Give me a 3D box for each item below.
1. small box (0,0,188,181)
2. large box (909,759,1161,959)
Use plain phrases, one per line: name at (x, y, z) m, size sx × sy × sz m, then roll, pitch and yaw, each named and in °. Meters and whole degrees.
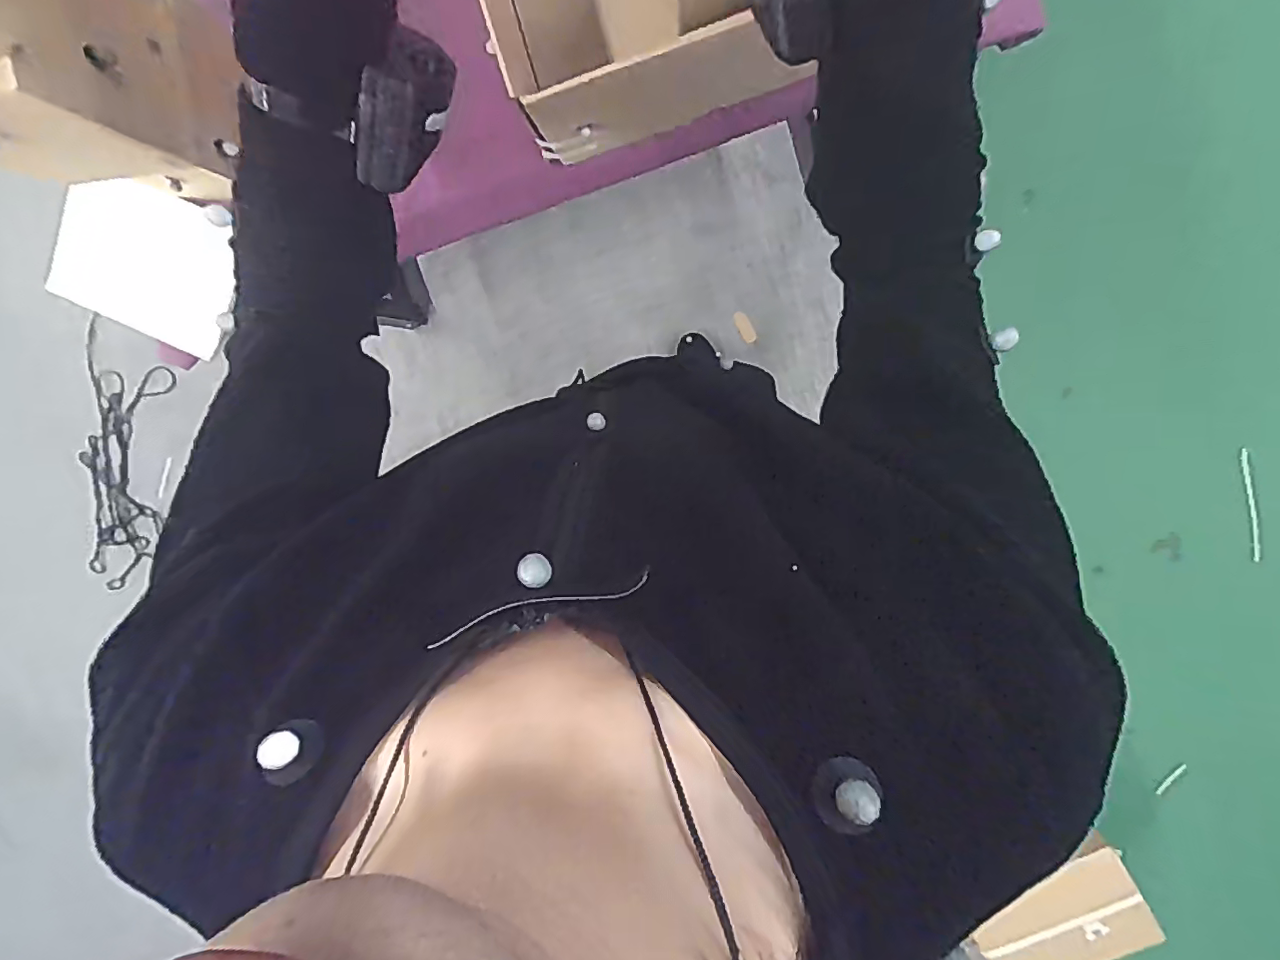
small box at (-0.563, -0.393, 0.492) m, size 0.179 × 0.176 × 0.168 m, roll -3°, pitch 101°, yaw 6°
large box at (1.048, 1.069, 1.489) m, size 0.408 × 0.320 × 0.320 m, roll -32°, pitch 98°, yaw 9°
